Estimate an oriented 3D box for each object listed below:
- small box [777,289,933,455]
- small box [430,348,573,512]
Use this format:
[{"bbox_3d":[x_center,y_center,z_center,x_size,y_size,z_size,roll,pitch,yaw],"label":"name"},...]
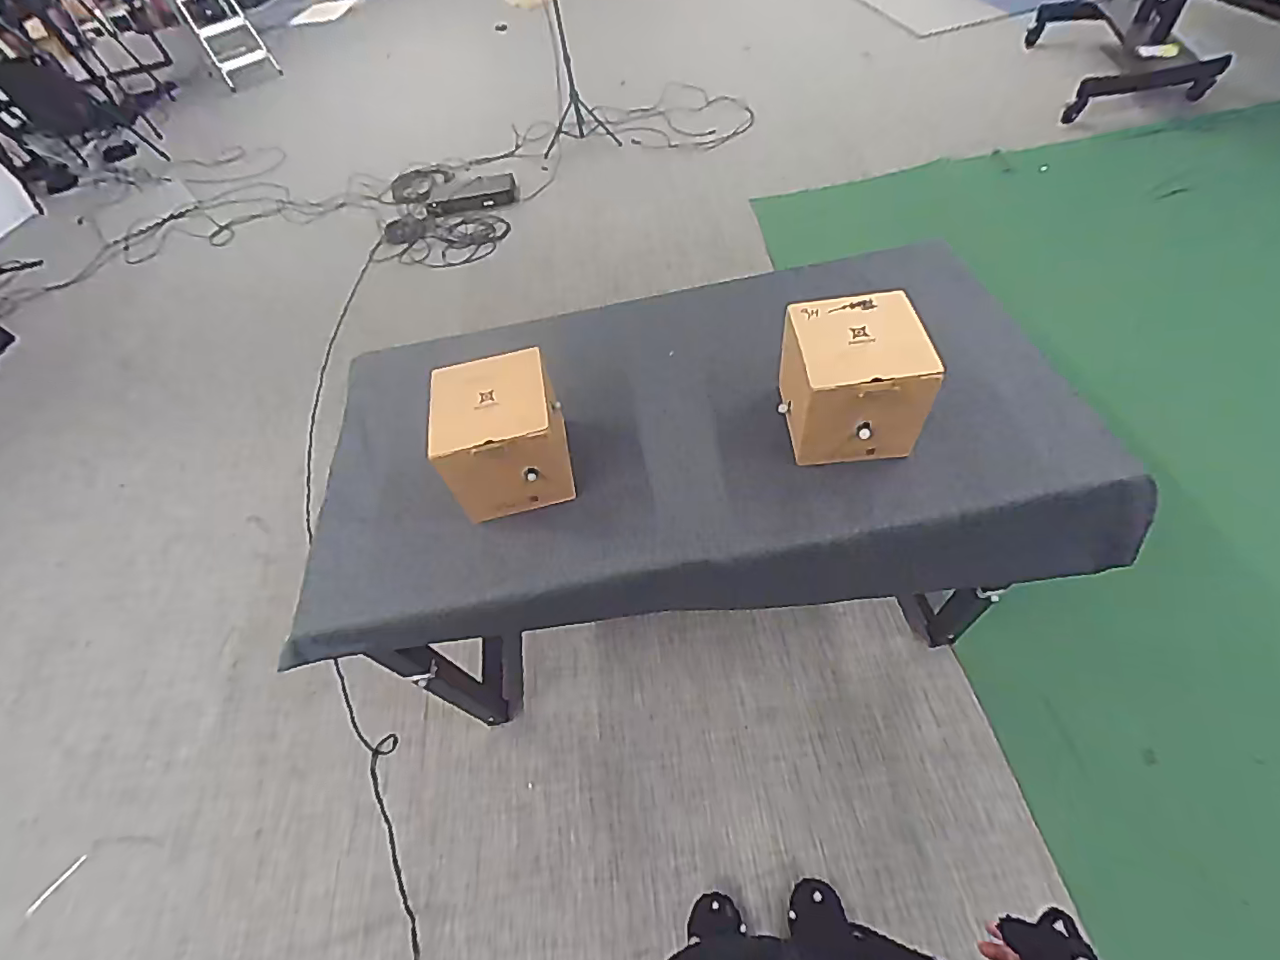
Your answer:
[{"bbox_3d":[0.302,-0.150,0.801,0.168,0.176,0.179,-6,56,6],"label":"small box"},{"bbox_3d":[-0.207,-0.068,0.833,0.168,0.176,0.179,-14,53,-2],"label":"small box"}]
